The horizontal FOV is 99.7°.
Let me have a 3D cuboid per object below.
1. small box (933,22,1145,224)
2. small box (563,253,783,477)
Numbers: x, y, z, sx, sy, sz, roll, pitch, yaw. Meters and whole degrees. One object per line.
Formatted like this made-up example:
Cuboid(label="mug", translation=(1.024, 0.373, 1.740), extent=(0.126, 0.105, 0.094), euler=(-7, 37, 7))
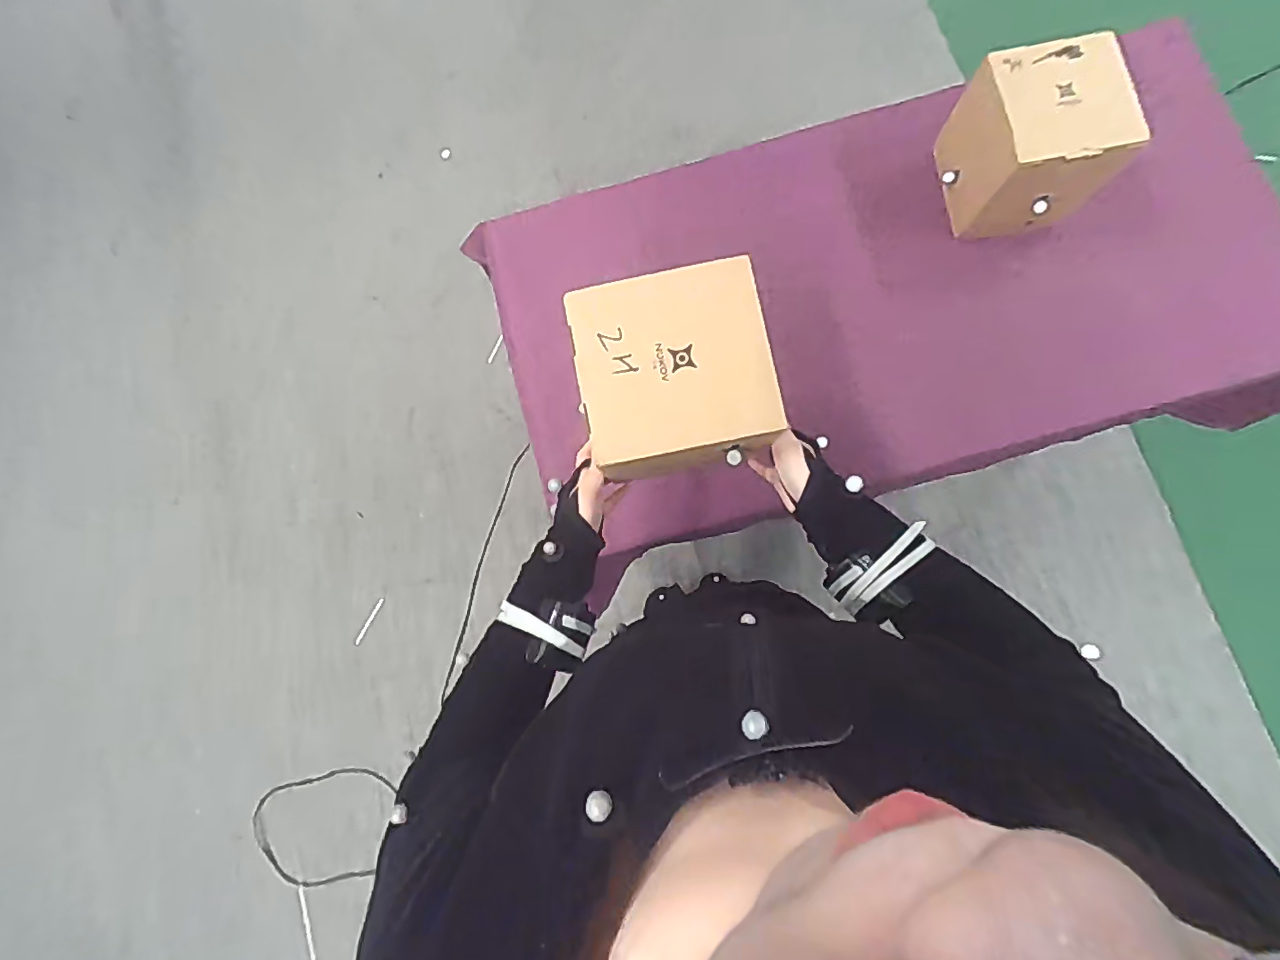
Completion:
Cuboid(label="small box", translation=(0.557, -0.496, 0.781), extent=(0.168, 0.176, 0.179), euler=(-8, 81, 3))
Cuboid(label="small box", translation=(0.031, -0.104, 0.563), extent=(0.179, 0.176, 0.168), euler=(-11, 83, 3))
